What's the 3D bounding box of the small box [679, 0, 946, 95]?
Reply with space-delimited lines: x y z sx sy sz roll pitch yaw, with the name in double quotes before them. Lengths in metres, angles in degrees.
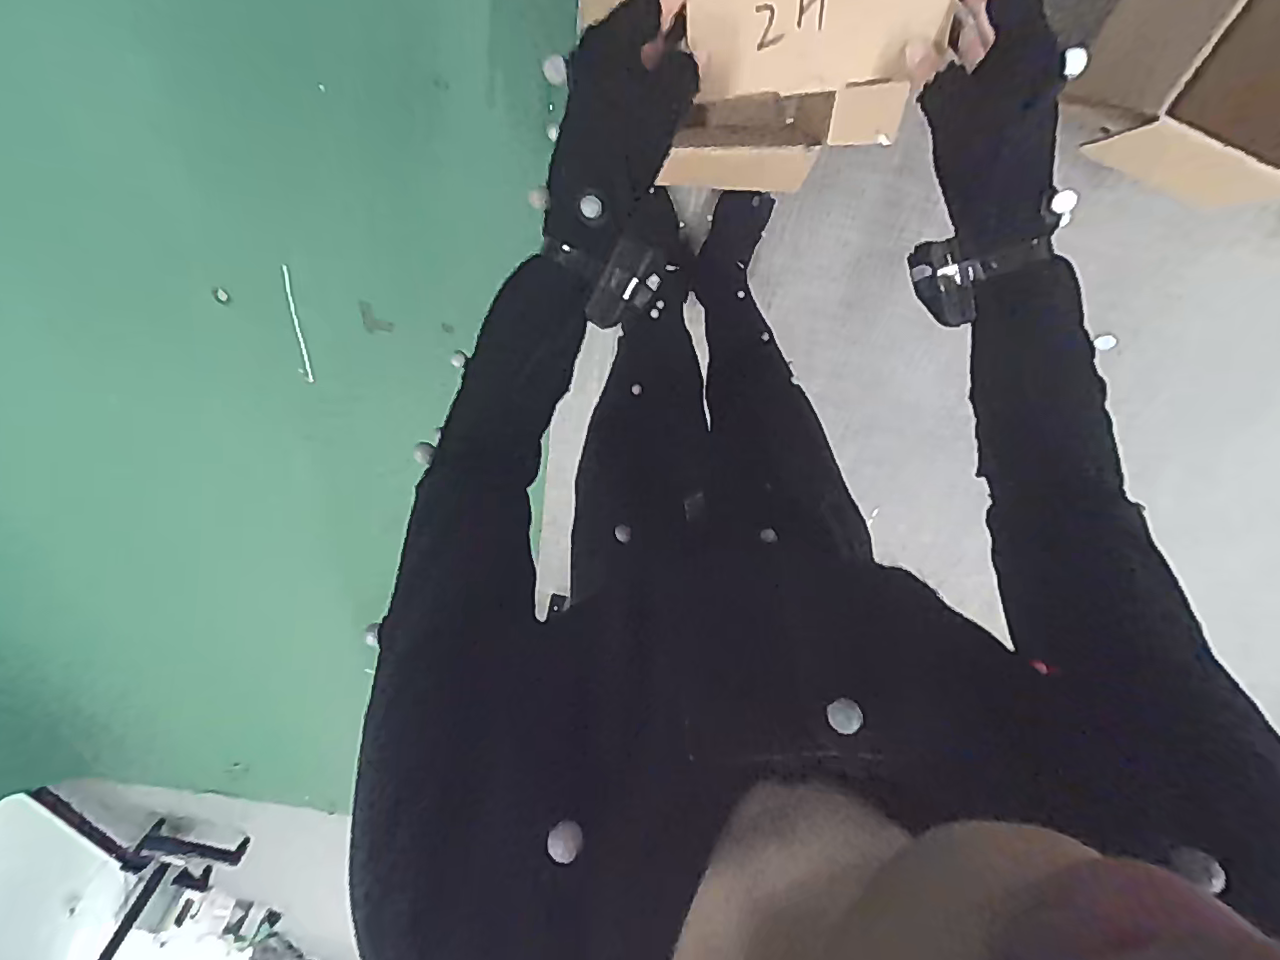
"small box" 0.111 -0.387 0.379 0.168 0.176 0.179 -2 128 6
